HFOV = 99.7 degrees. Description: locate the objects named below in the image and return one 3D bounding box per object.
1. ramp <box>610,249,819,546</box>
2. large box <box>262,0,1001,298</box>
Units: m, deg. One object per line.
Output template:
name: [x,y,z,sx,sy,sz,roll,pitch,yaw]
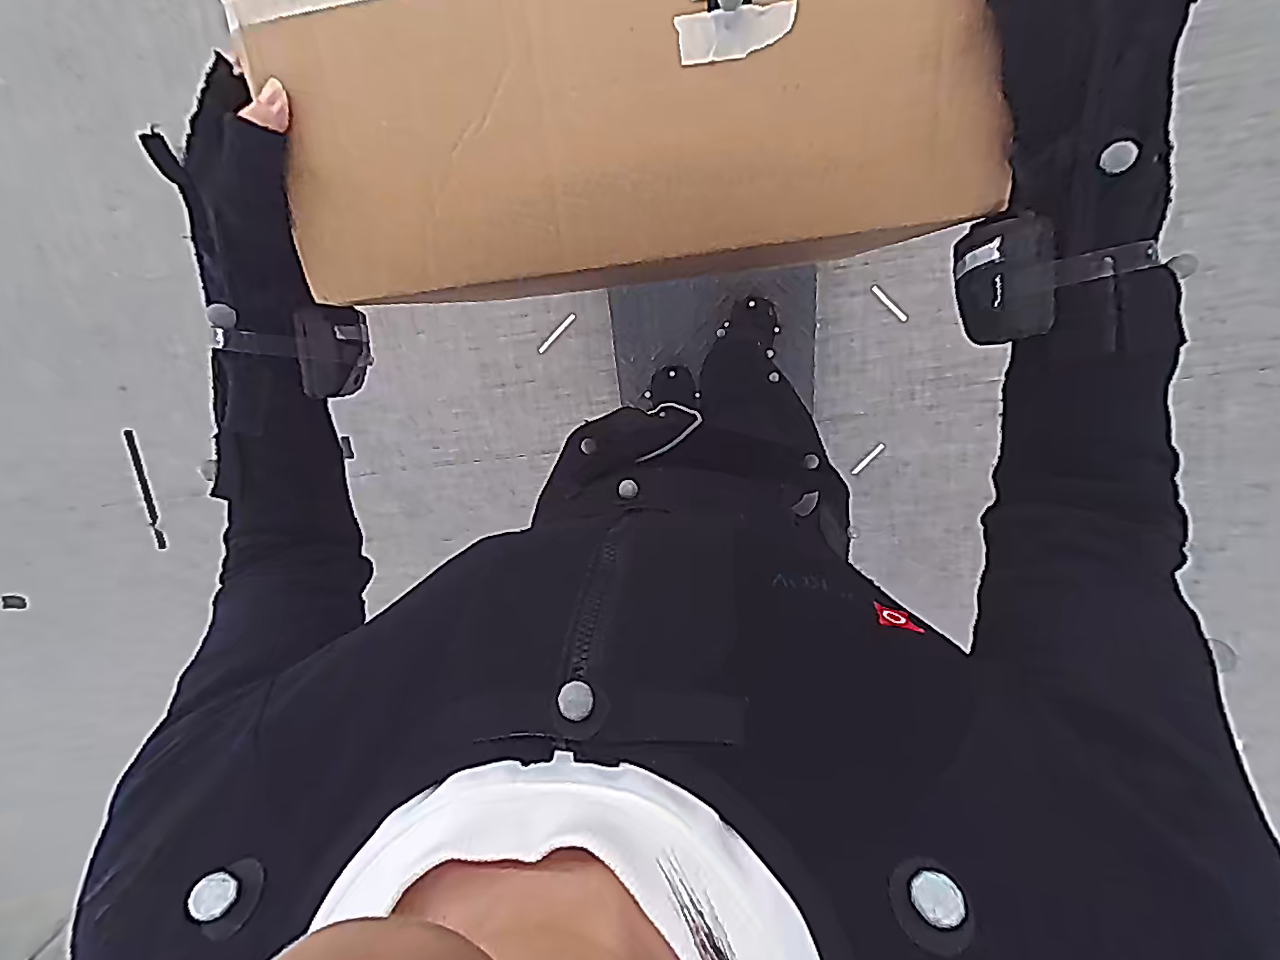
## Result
ramp: [0.194,-0.272,1.362,0.509,0.206,0.991,-5,104,8]
large box: [-0.006,-0.331,0.422,0.408,0.320,0.320,-5,109,8]
